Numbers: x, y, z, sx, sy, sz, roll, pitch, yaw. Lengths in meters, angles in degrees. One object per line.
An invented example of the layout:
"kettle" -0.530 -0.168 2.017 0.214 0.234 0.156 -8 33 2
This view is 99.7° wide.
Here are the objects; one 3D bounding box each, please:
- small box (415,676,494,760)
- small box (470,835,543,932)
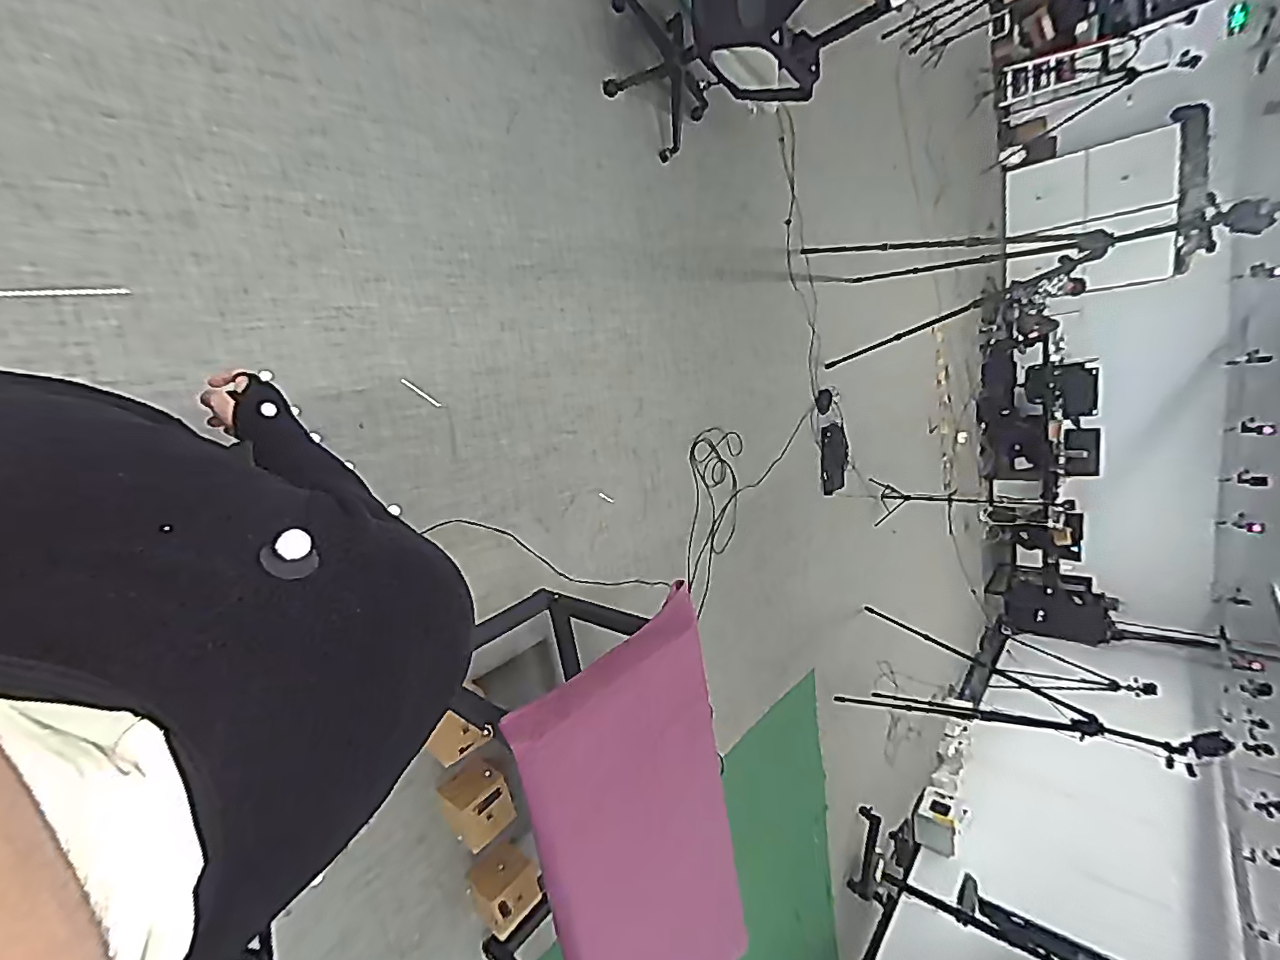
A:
"small box" -0.596 0.749 1.731 0.168 0.176 0.179 -19 105 -45
"small box" -0.474 1.405 1.895 0.179 0.176 0.168 -26 111 -44
